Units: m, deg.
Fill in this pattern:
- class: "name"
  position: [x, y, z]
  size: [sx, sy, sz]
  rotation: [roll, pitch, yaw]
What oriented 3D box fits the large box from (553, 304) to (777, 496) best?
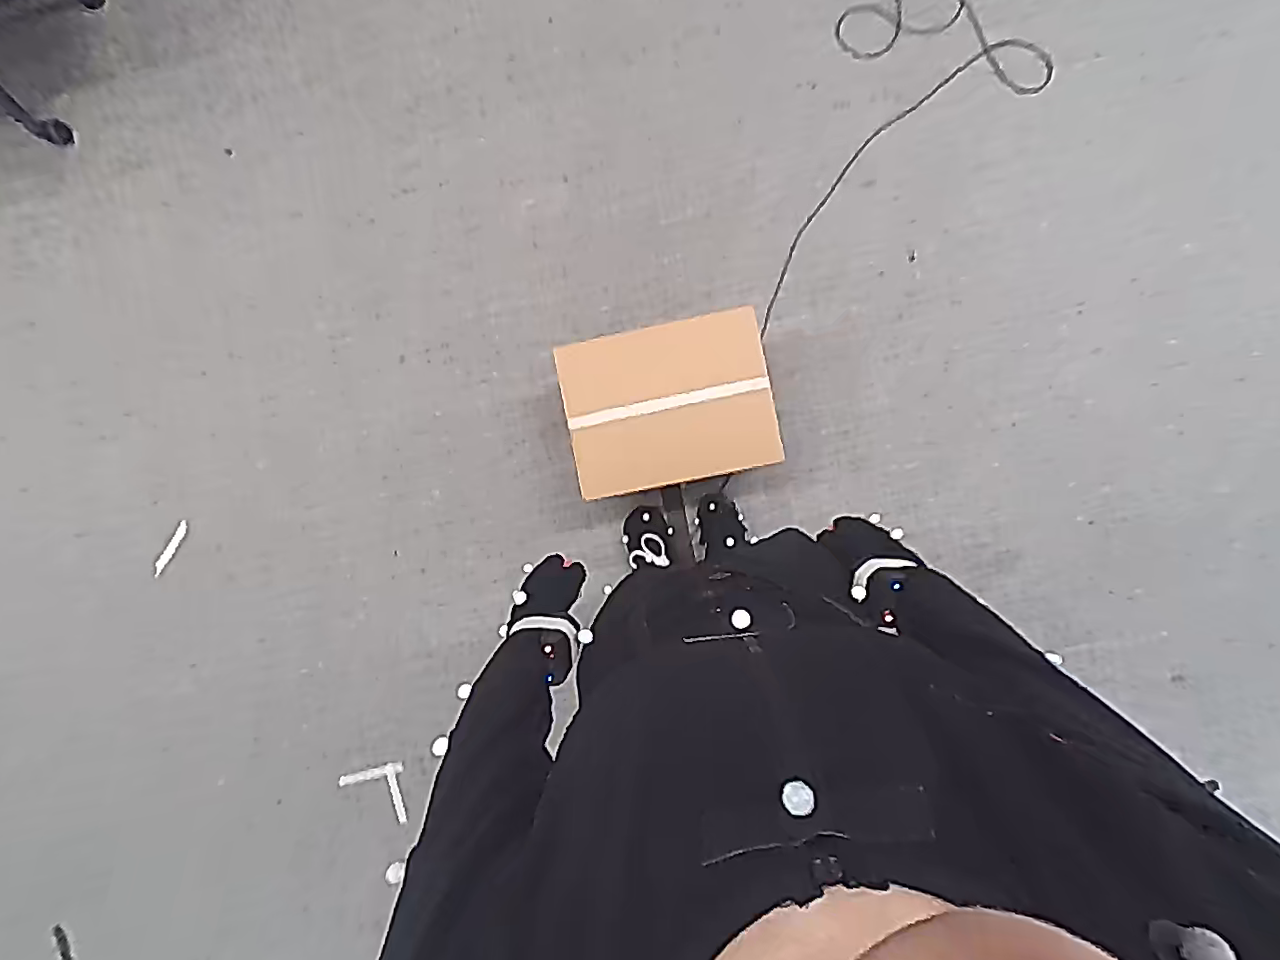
- class: "large box"
  position: [0.054, -0.159, 1.221]
  size: [0.408, 0.320, 0.320]
  rotation: [-11, 92, 3]
